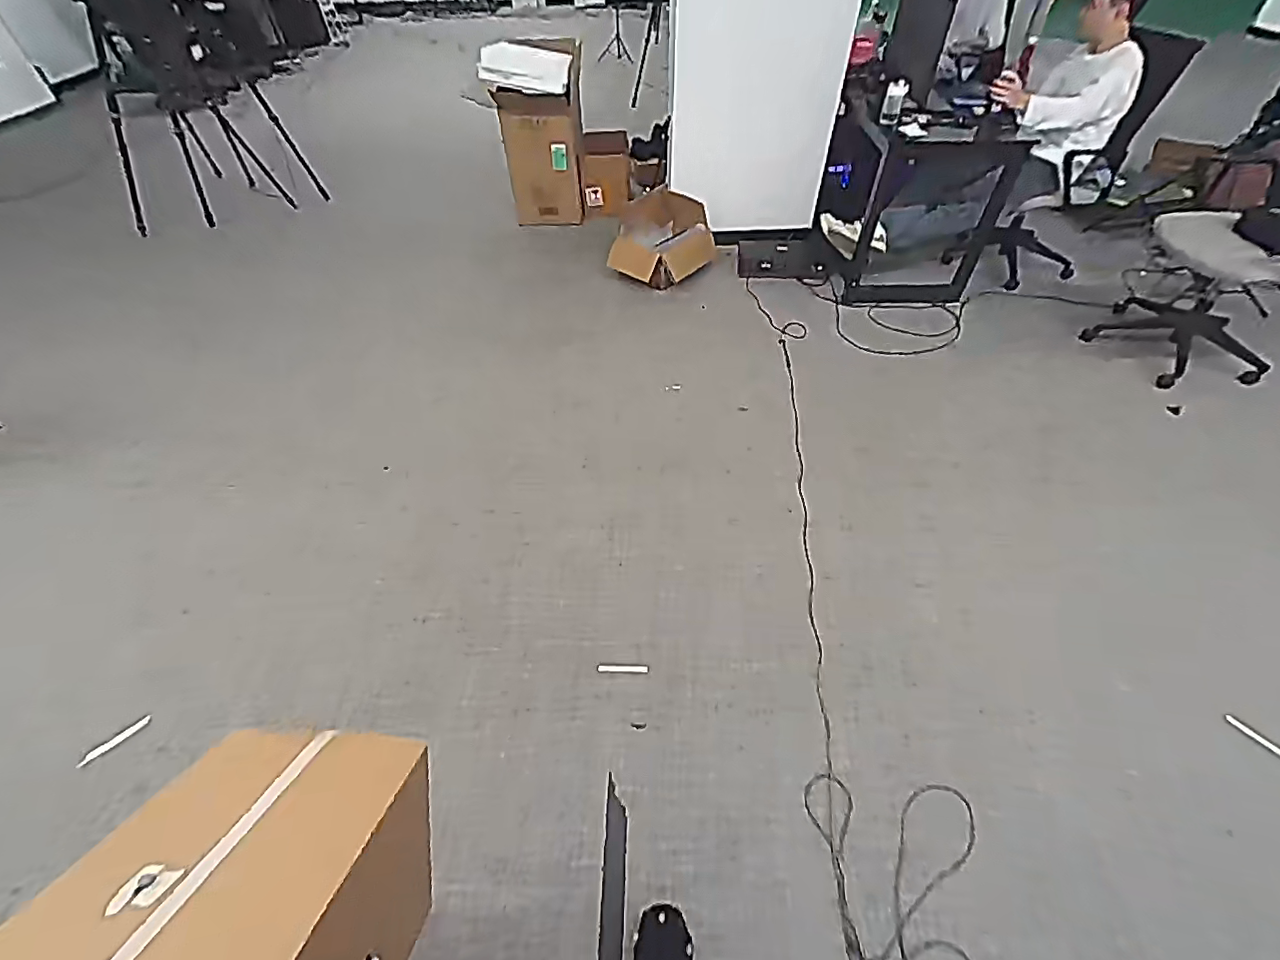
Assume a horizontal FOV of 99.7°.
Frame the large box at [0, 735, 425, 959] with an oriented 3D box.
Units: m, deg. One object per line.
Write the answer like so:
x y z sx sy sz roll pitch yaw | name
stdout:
-0.508 0.605 0.703 0.320 0.320 0.408 3 11 2 | large box
